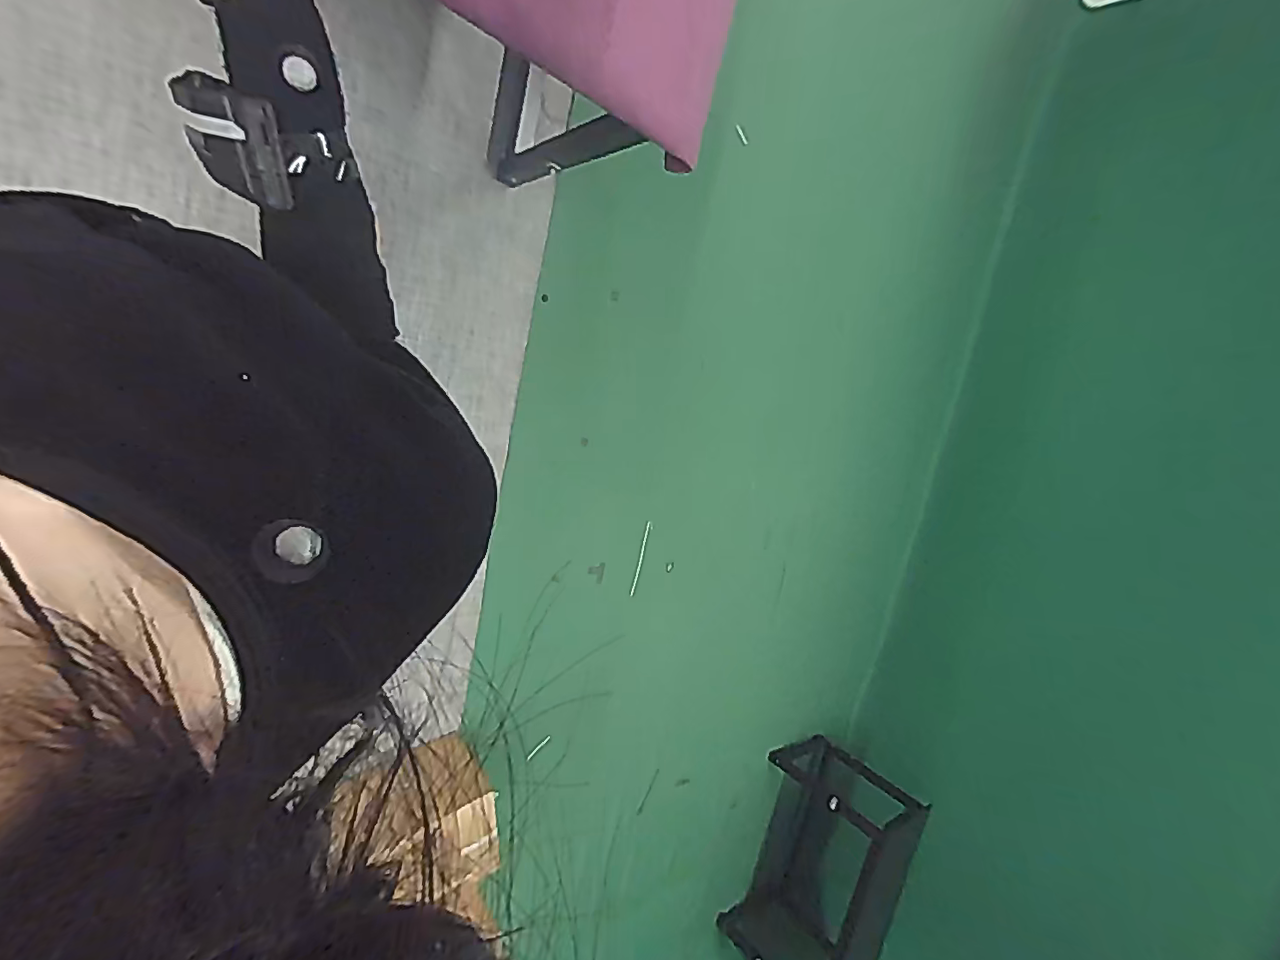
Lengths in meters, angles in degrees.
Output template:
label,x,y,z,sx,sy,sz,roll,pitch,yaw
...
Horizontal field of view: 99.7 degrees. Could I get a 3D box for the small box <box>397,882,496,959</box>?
label,x,y,z,sx,sy,sz,roll,pitch,yaw
small box,-0.467,1.127,1.299,0.179,0.176,0.168,-4,107,-39

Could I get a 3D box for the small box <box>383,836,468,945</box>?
label,x,y,z,sx,sy,sz,roll,pitch,yaw
small box,-0.565,1.080,1.418,0.168,0.176,0.179,-5,107,-39

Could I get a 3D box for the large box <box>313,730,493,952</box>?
label,x,y,z,sx,sy,sz,roll,pitch,yaw
large box,-0.703,1.045,1.623,0.408,0.320,0.320,-13,114,-39
